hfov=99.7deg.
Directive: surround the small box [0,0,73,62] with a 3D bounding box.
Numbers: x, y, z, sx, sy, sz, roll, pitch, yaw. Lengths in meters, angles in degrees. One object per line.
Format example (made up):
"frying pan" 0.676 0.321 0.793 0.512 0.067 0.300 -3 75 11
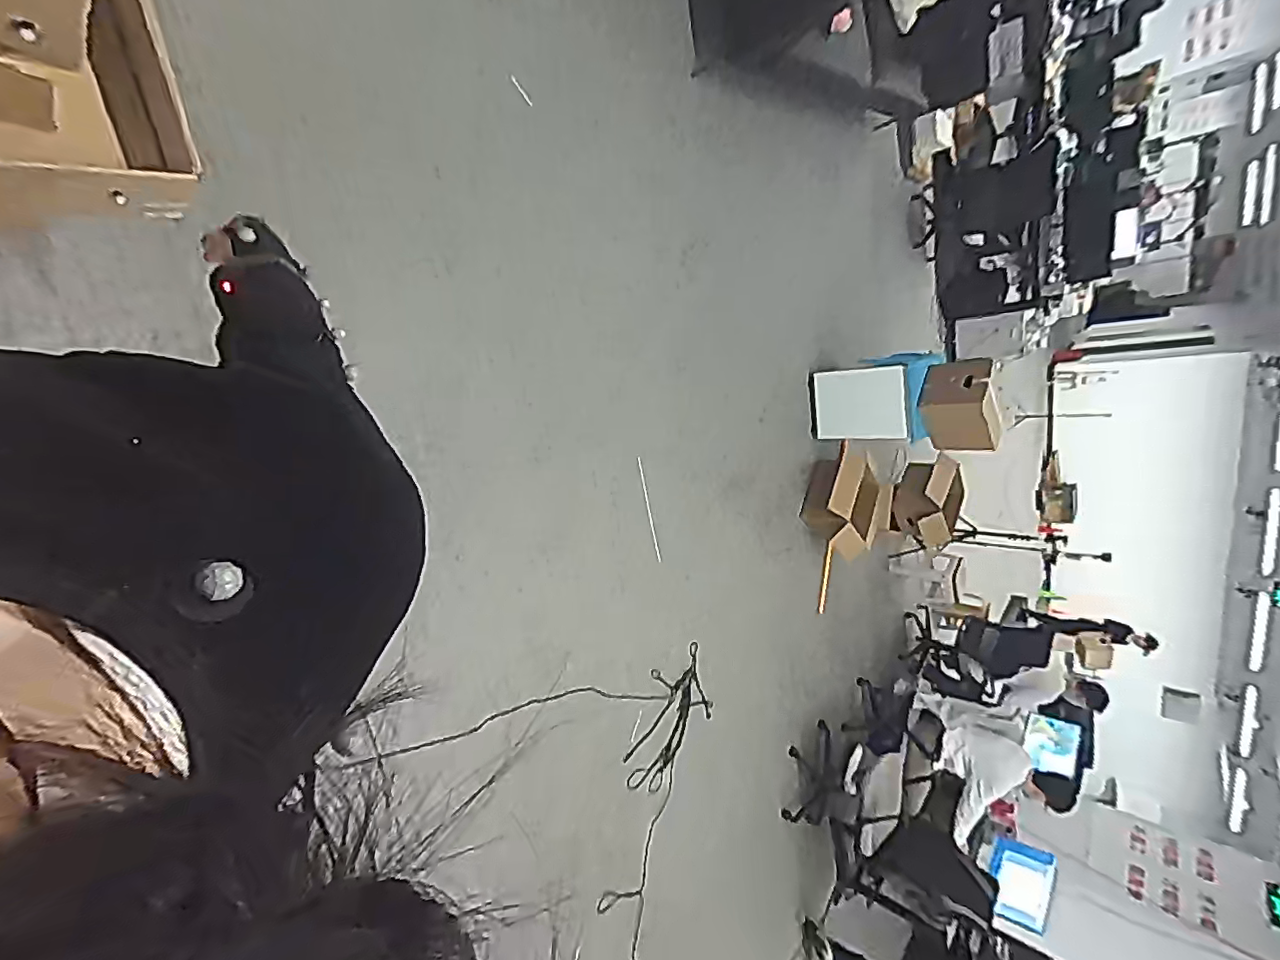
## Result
"small box" -0.690 -0.562 0.530 0.168 0.176 0.179 -15 104 -47
